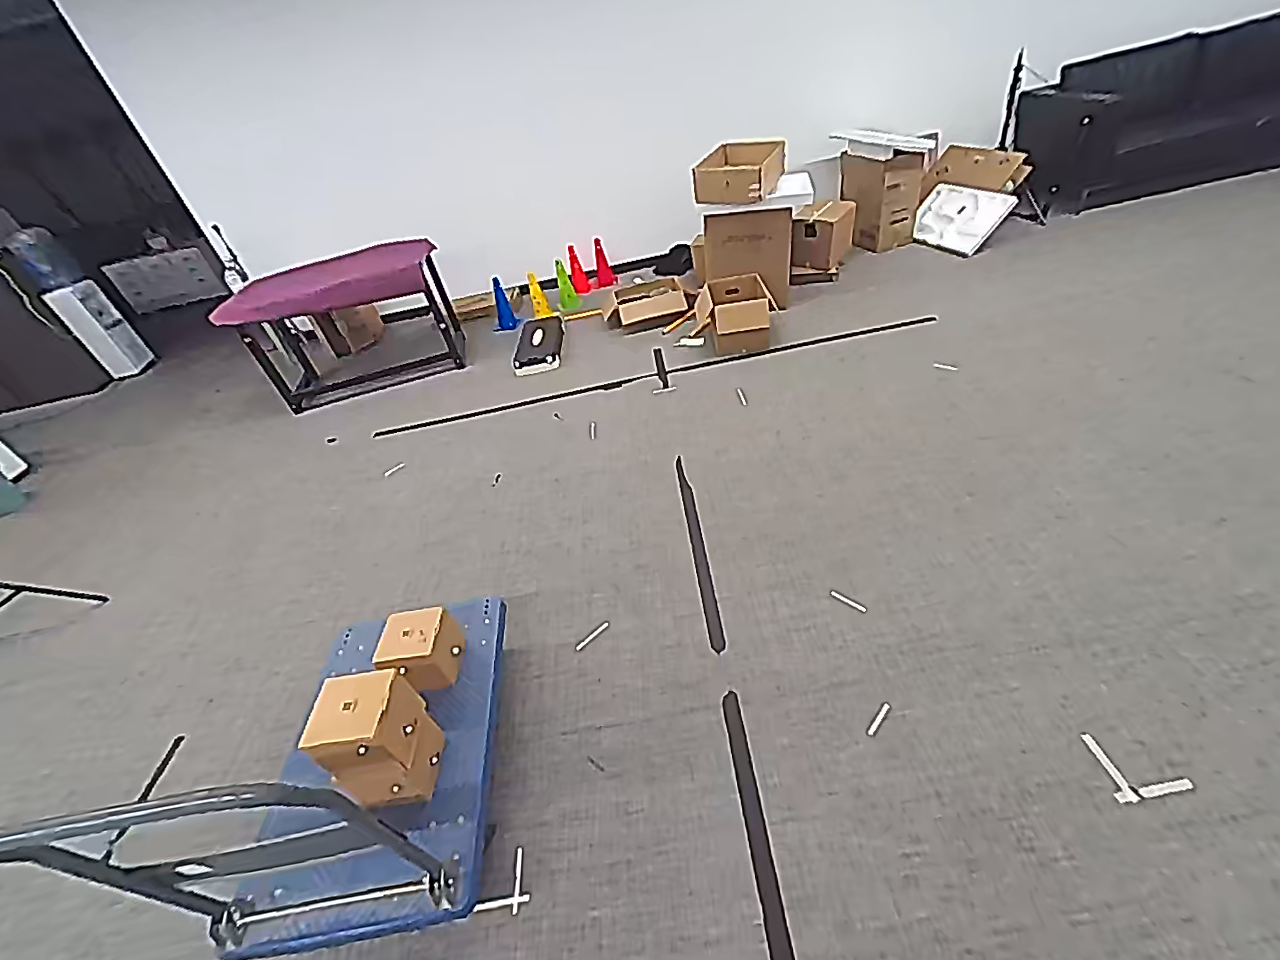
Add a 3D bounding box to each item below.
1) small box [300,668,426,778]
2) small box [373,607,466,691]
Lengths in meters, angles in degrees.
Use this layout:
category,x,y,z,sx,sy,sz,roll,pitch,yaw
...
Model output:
category,x,y,z,sx,sy,sz,roll,pitch,yaw
small box,-0.630,0.567,1.253,0.179,0.176,0.168,-10,38,2
small box,-0.643,0.503,1.595,0.179,0.176,0.168,-9,39,5
